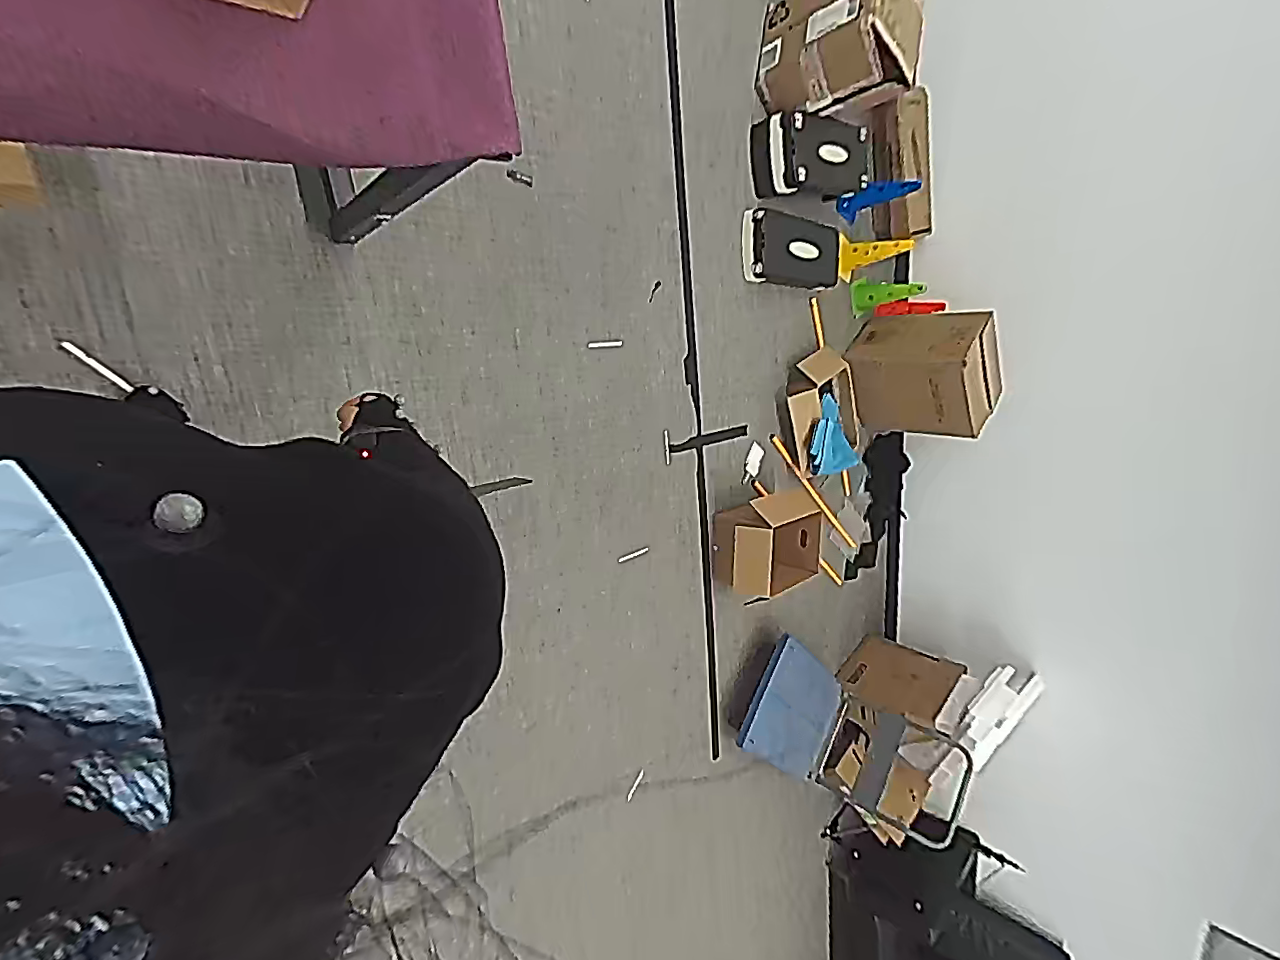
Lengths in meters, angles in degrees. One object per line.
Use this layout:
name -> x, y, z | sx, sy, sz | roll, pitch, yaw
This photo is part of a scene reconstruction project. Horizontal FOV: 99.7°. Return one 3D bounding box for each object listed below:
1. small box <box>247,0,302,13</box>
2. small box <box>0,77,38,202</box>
small box -> -0.398, -0.575, 0.484 | 0.168, 0.176, 0.179 | -19, 110, -40
small box -> -1.088, -0.552, 0.843 | 0.168, 0.176, 0.179 | -16, 107, -42
